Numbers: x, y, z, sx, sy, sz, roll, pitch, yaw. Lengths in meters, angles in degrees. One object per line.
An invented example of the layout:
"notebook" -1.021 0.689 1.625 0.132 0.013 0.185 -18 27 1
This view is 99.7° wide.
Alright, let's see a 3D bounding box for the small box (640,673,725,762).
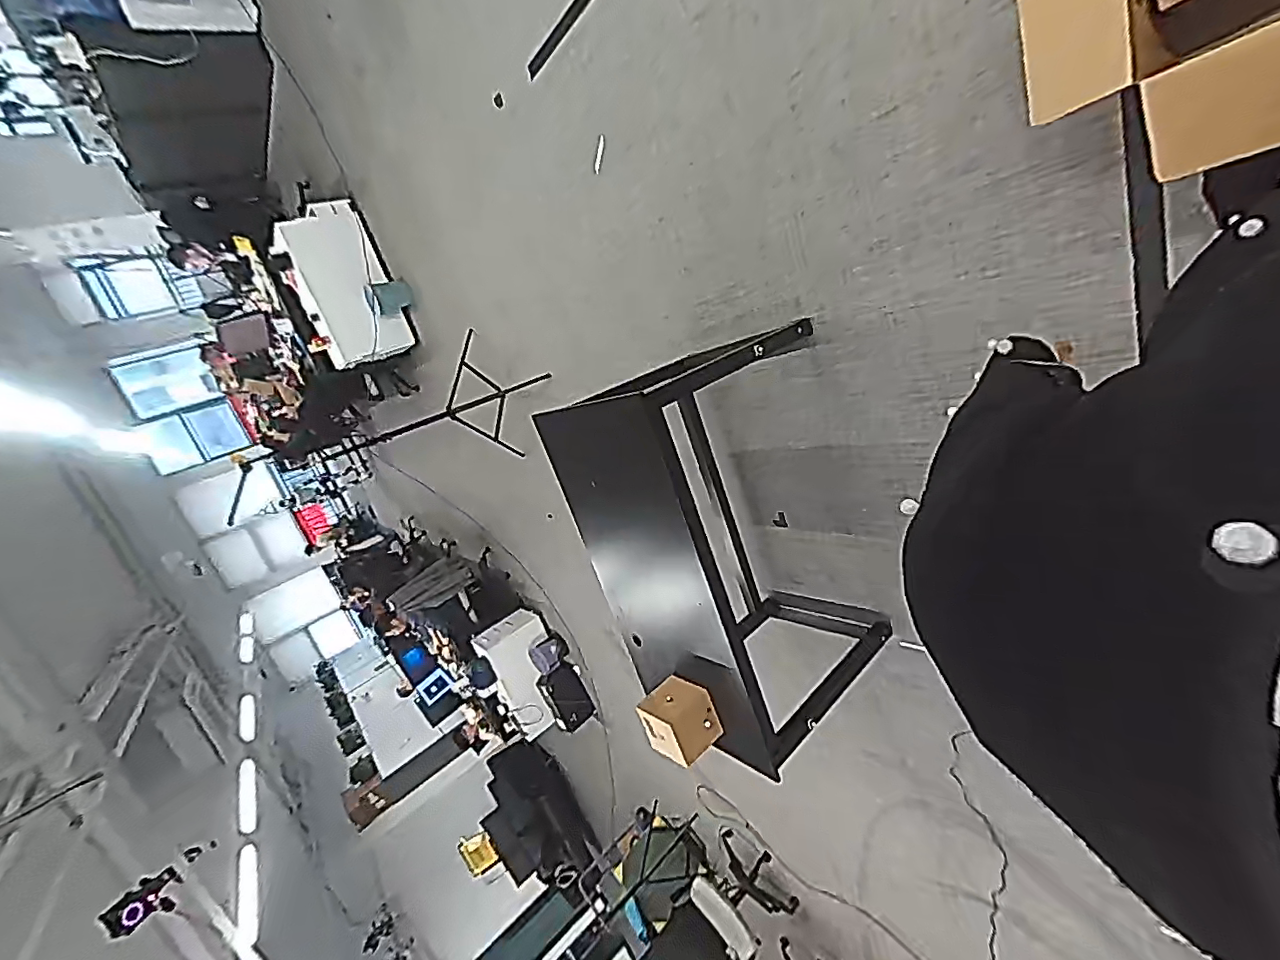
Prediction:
"small box" 0.136 0.740 1.711 0.179 0.176 0.168 -3 113 54
